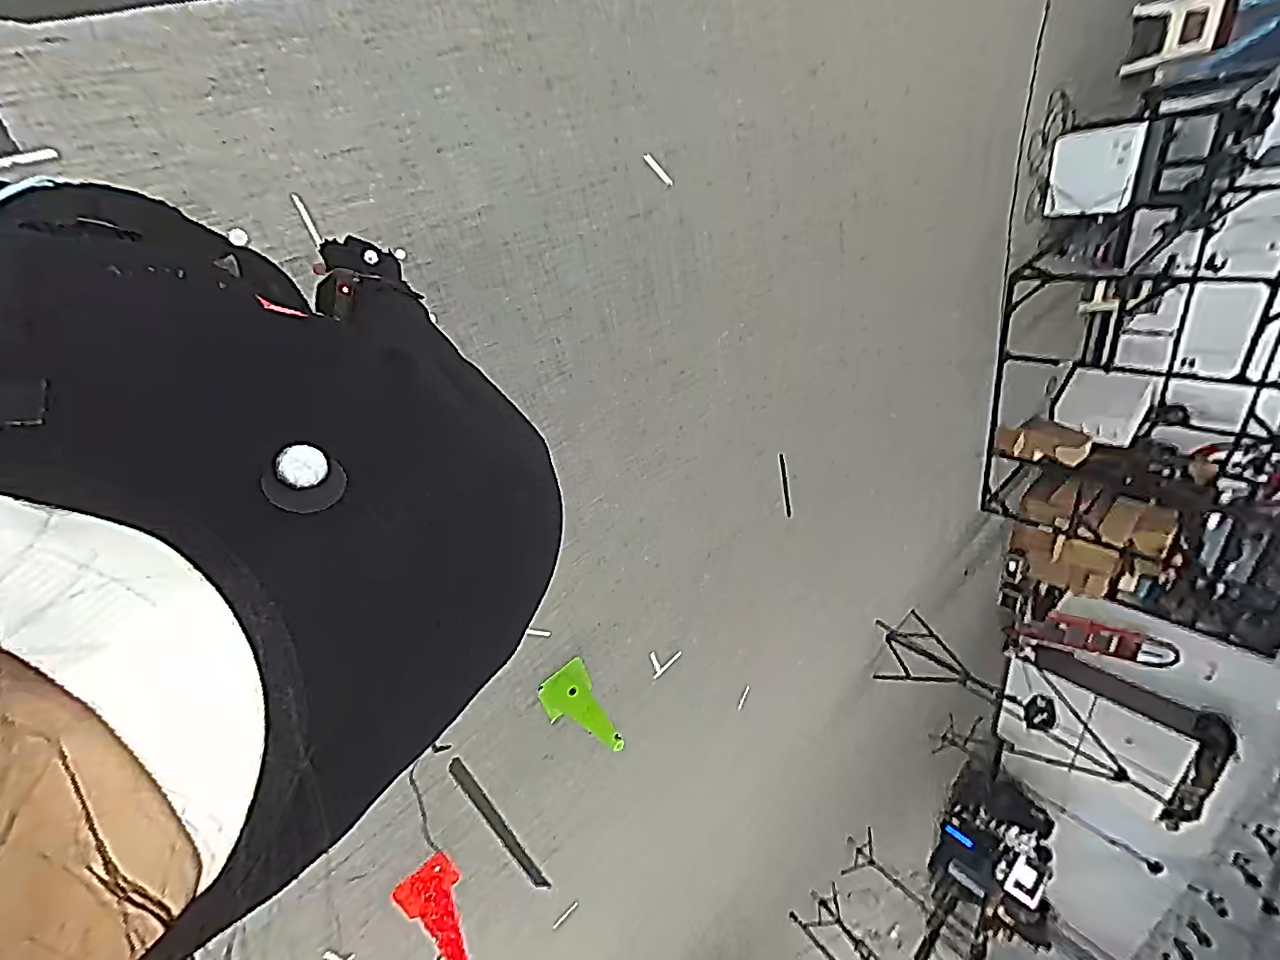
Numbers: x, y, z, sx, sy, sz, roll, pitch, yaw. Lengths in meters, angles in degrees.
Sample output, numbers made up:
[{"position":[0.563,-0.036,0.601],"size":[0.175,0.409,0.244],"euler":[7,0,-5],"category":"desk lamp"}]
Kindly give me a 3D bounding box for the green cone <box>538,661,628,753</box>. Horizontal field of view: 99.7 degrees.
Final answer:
[{"position":[-0.172,0.856,1.941],"size":[0.202,0.368,0.200],"euler":[-35,126,-28],"category":"green cone"}]

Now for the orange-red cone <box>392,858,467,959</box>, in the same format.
[{"position":[-0.644,1.501,1.783],"size":[0.199,0.360,0.198],"euler":[-29,122,-29],"category":"orange-red cone"}]
